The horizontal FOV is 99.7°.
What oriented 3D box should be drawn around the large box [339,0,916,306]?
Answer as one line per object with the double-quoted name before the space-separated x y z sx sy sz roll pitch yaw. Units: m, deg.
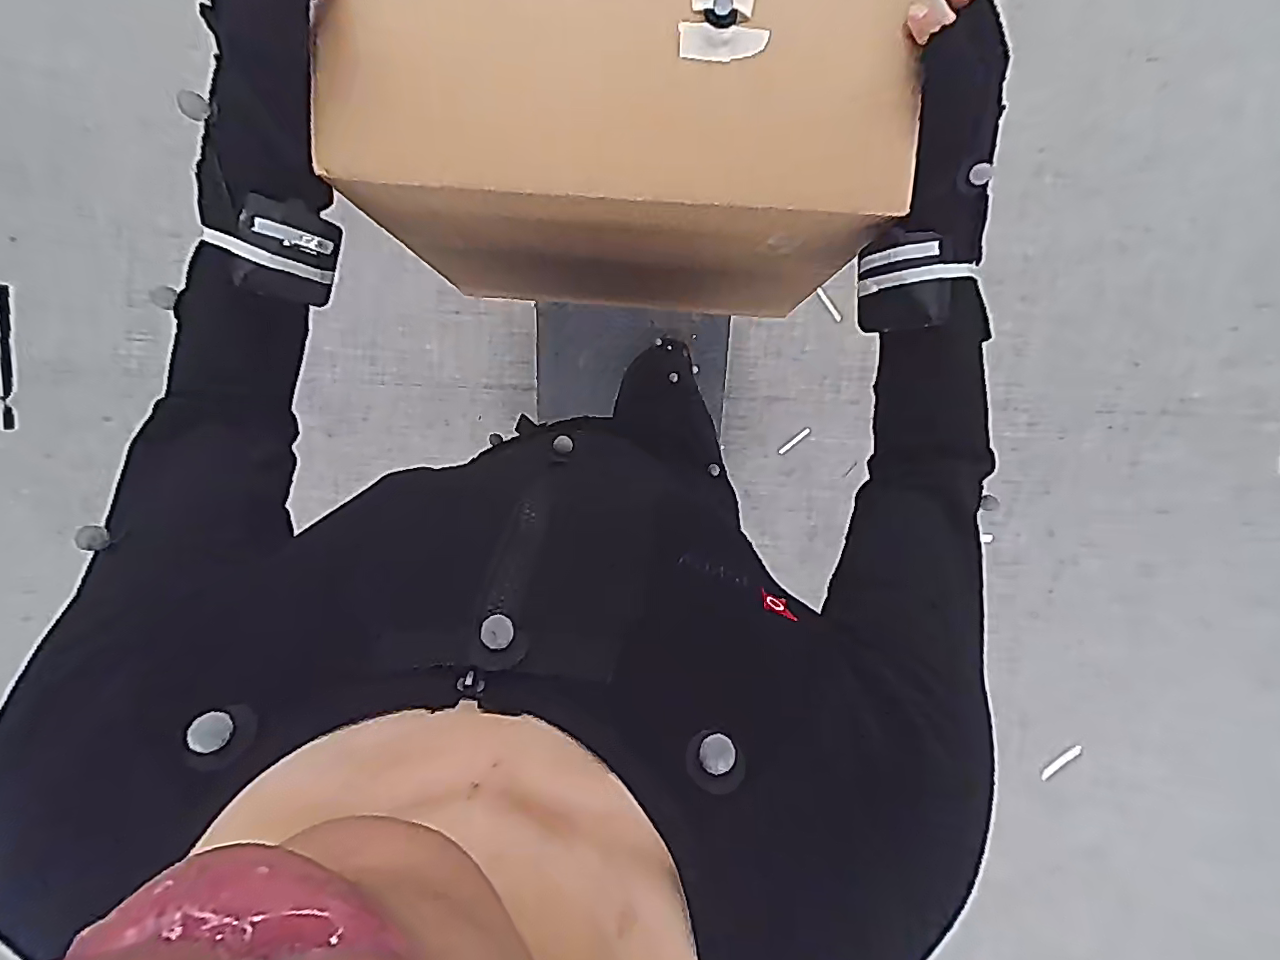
"large box" -0.008 -0.367 0.519 0.408 0.320 0.320 4 95 -1
